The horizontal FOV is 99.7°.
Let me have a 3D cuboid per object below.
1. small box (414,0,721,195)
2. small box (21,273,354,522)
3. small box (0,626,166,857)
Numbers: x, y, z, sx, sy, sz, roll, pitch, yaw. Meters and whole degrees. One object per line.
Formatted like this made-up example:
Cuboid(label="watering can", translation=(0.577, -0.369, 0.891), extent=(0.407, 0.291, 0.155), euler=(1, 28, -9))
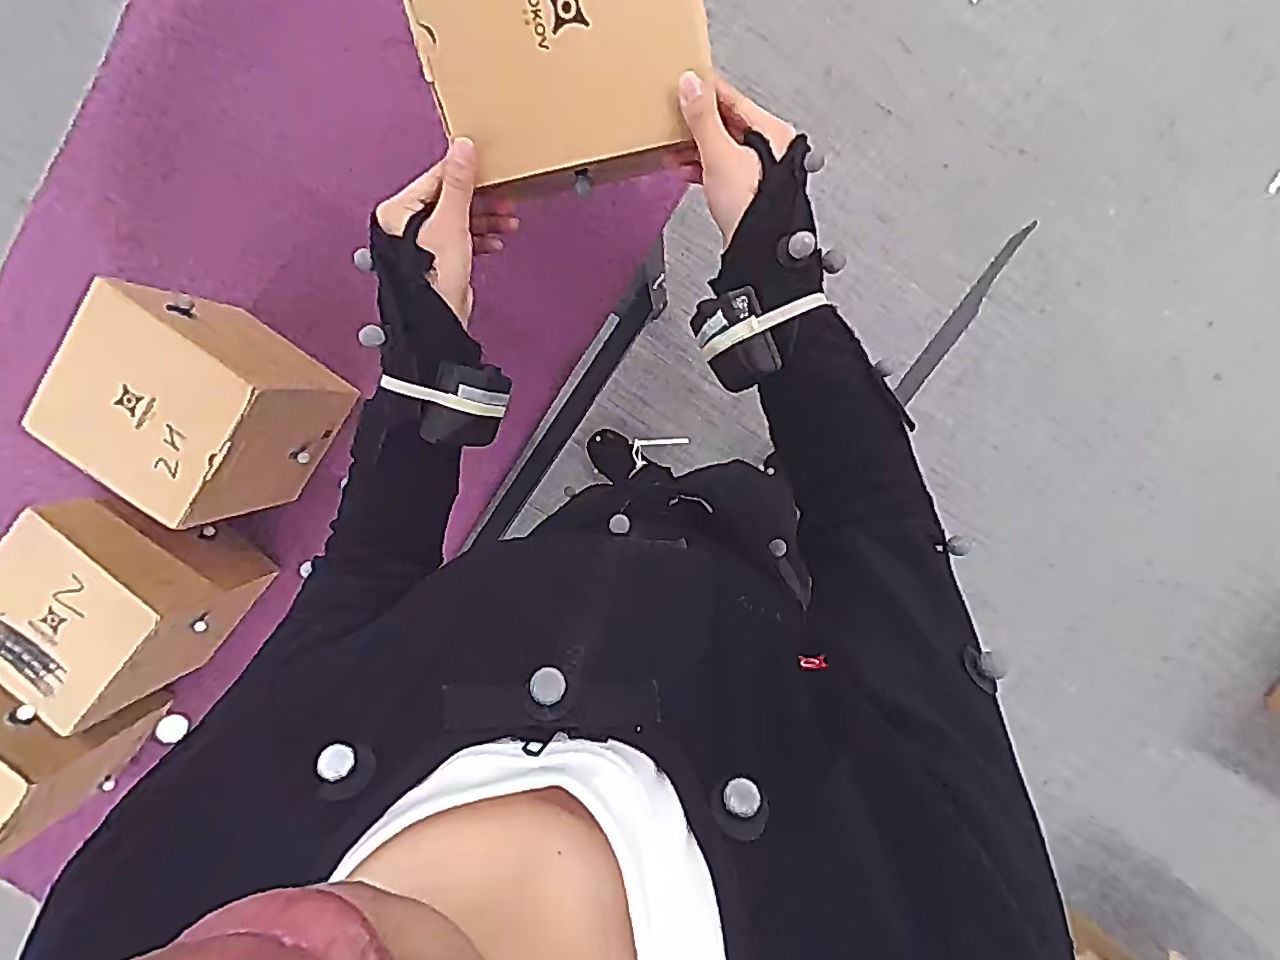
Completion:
Cuboid(label="small box", translation=(-0.051, -0.319, 0.395), extent=(0.179, 0.176, 0.168), euler=(-11, 114, 2))
Cuboid(label="small box", translation=(-0.456, -0.082, 0.574), extent=(0.179, 0.176, 0.168), euler=(35, 98, -2))
Cuboid(label="small box", translation=(-0.732, 0.304, 0.636), extent=(0.179, 0.176, 0.168), euler=(40, 97, -3))
